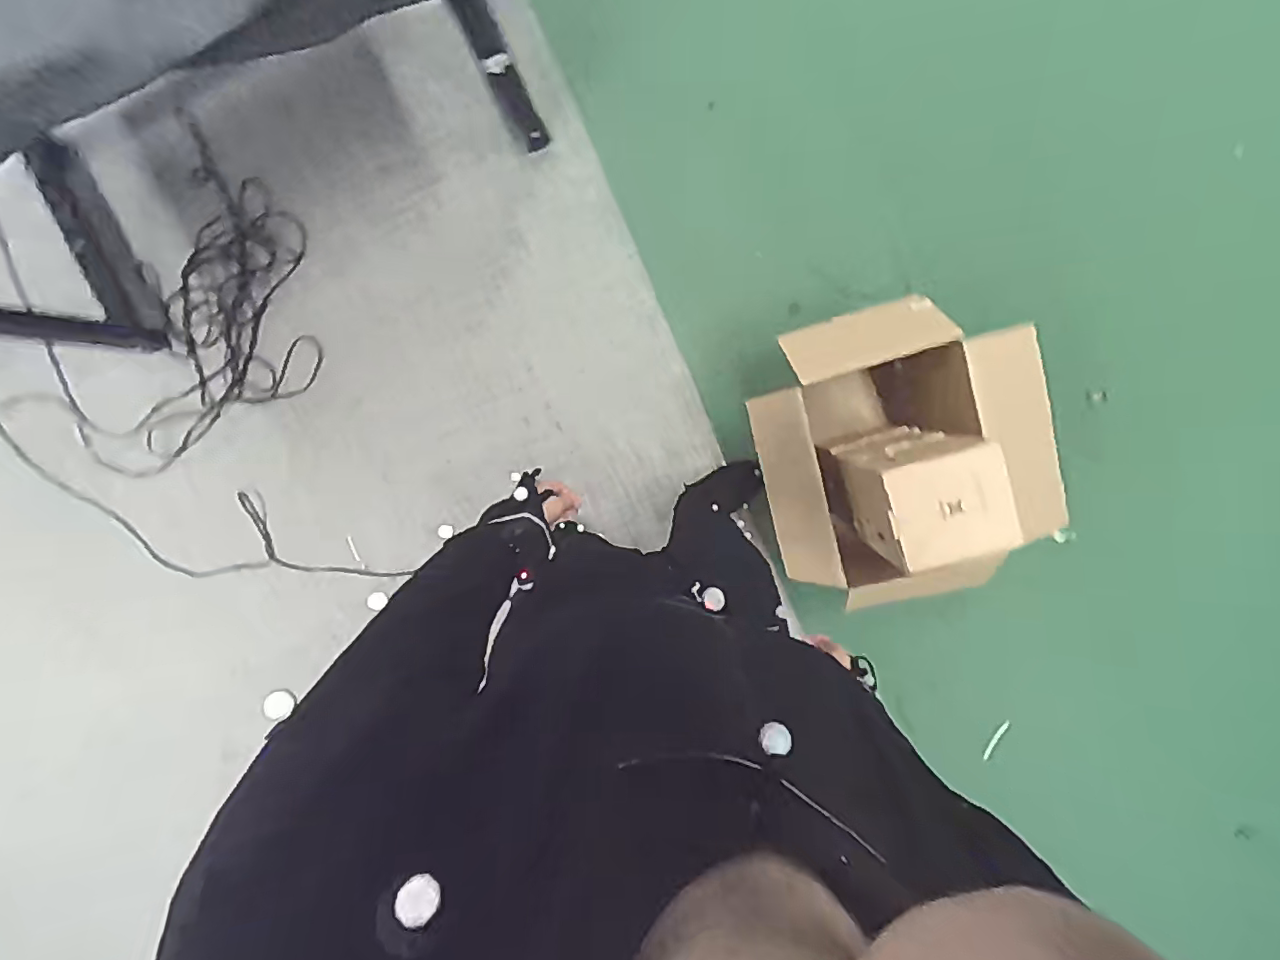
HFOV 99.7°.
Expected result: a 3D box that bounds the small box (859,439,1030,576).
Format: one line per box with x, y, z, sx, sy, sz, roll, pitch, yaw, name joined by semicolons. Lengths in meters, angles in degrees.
0.473;0.036;0.873;0.179;0.176;0.168;-17;96;6;small box
